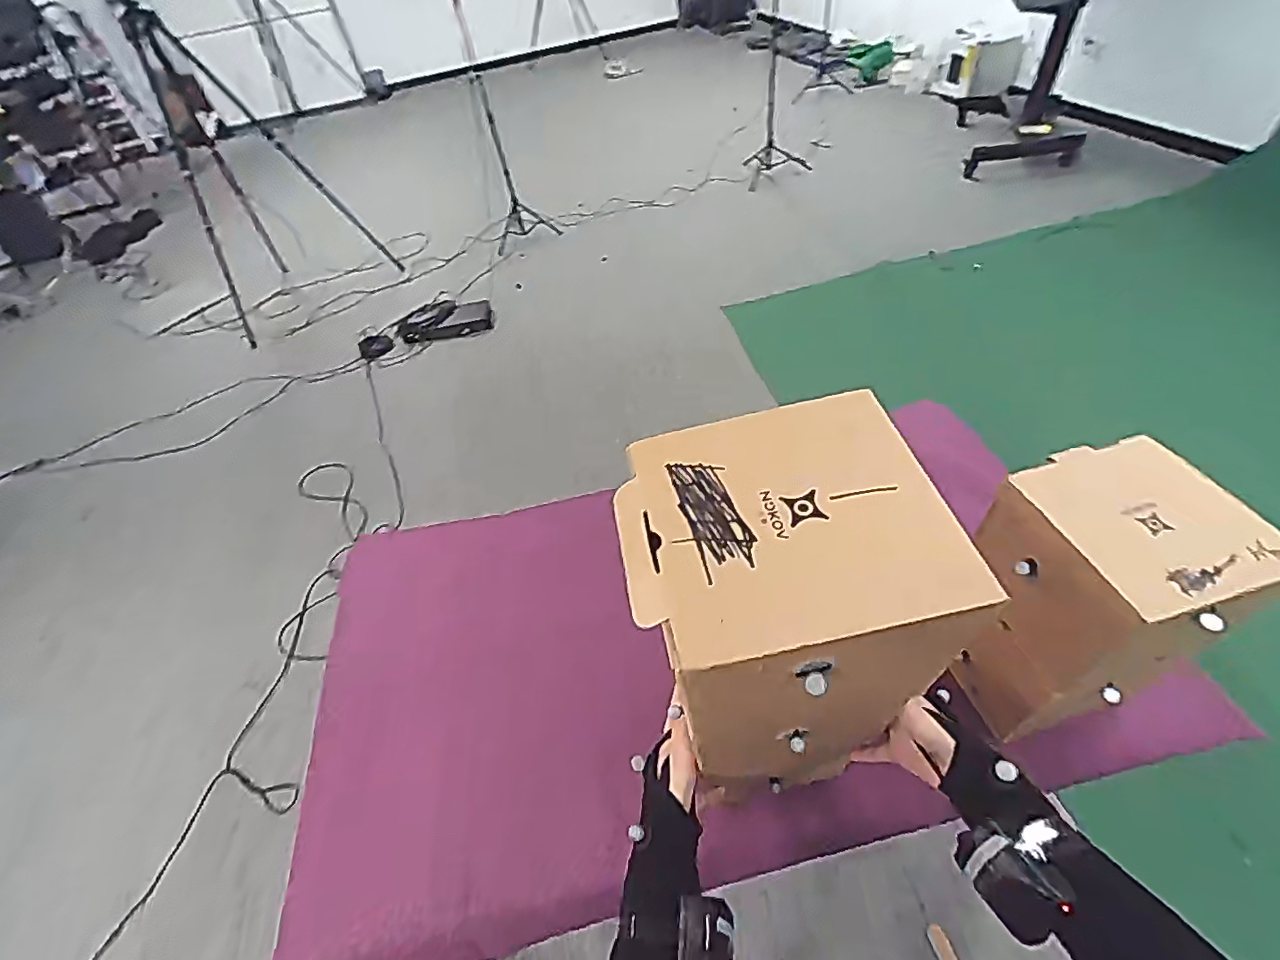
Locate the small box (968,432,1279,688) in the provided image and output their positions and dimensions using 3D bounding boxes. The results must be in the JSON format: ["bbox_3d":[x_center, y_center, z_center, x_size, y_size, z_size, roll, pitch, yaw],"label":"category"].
[{"bbox_3d":[0.485,0.085,0.566,0.168,0.176,0.179,-19,47,-2],"label":"small box"}]

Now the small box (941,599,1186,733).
[{"bbox_3d":[0.509,0.194,0.686,0.179,0.176,0.168,-18,48,-3],"label":"small box"}]

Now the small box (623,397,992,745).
[{"bbox_3d":[0.098,0.073,0.389,0.179,0.176,0.168,-14,52,1],"label":"small box"}]

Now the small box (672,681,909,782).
[{"bbox_3d":[0.120,0.171,0.517,0.179,0.176,0.168,-13,51,1],"label":"small box"}]

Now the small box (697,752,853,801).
[{"bbox_3d":[0.140,0.267,0.648,0.168,0.176,0.179,-14,50,1],"label":"small box"}]
